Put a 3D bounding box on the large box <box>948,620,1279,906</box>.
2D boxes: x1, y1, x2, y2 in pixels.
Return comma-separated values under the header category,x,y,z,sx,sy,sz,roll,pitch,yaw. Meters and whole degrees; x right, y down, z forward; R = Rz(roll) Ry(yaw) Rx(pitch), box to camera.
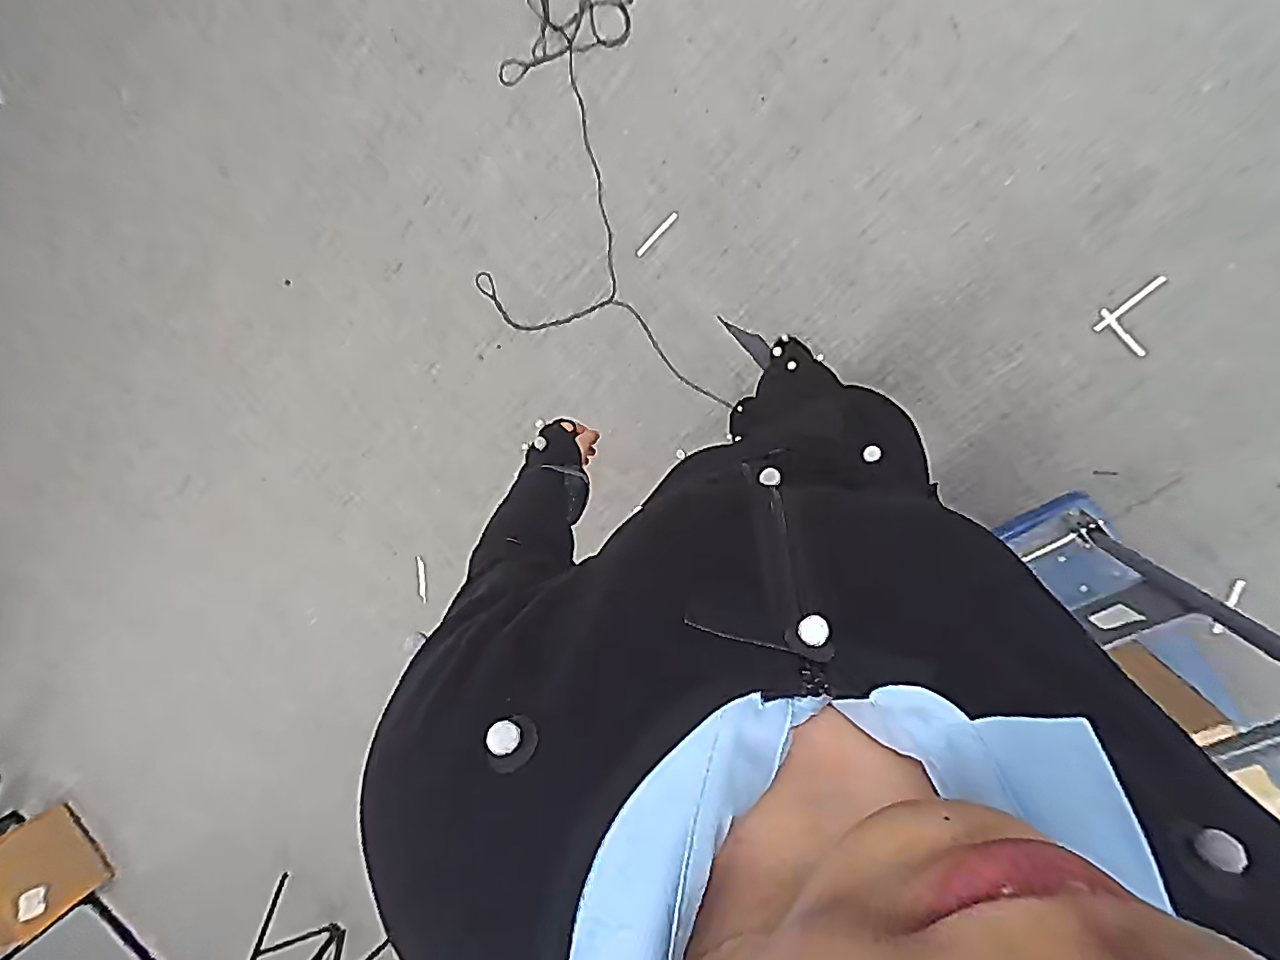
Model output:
category,x,y,z,sx,sy,sz,roll,pitch,yaw
large box,0.950,0.564,1.120,0.408,0.320,0.320,-35,92,19
